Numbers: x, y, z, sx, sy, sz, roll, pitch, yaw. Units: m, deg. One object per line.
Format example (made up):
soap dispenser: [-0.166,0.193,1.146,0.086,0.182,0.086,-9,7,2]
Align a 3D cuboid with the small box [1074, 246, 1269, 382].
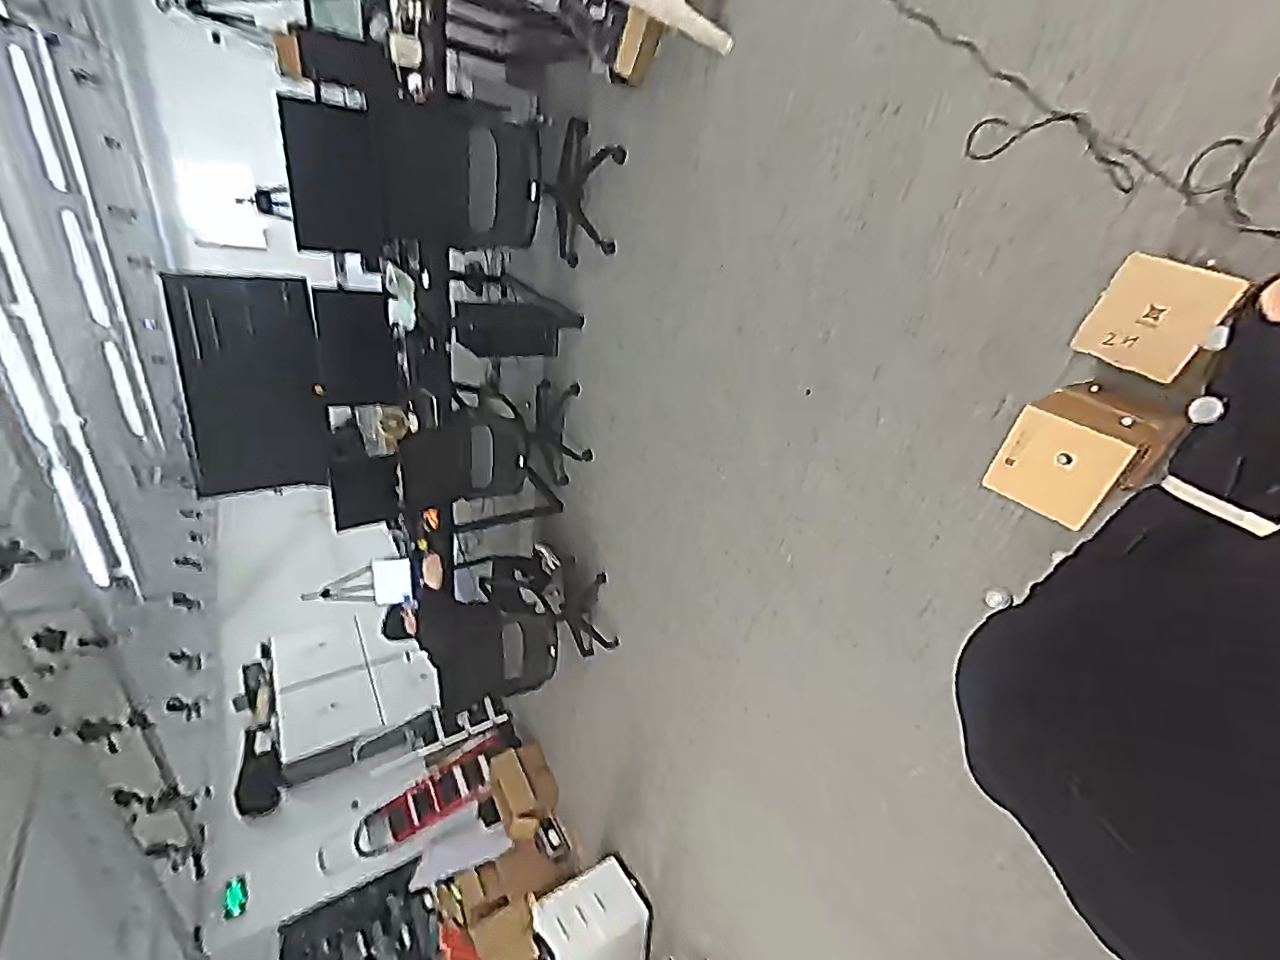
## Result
small box: [0.922,-0.290,0.940,0.168,0.176,0.179,47,137,40]
